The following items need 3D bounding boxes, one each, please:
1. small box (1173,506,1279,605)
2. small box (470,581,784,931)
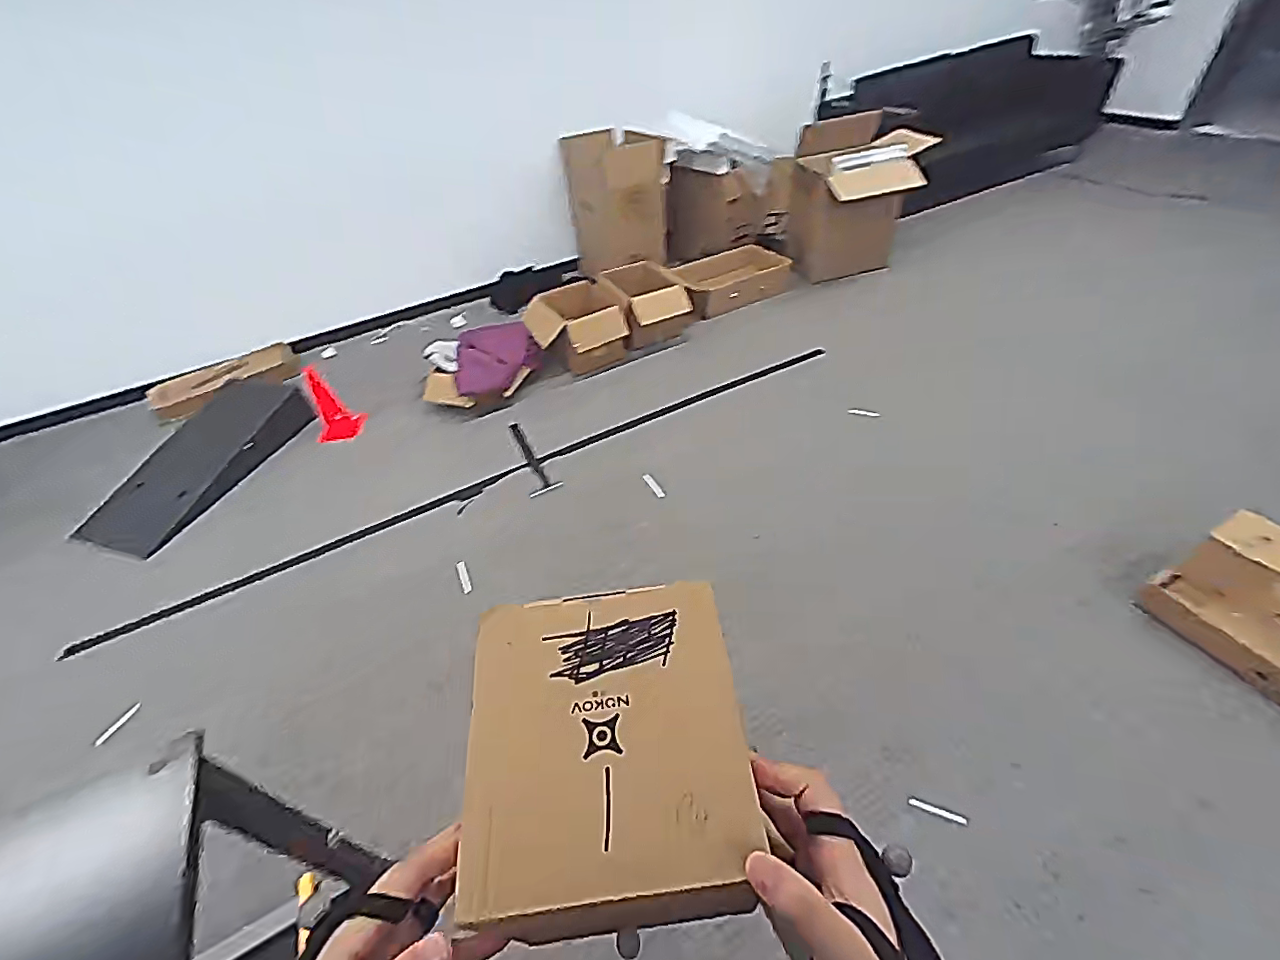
[{"bbox_3d":[1.629,0.206,1.473,0.179,0.176,0.168,-24,45,-17],"label":"small box"},{"bbox_3d":[-0.007,0.199,0.391,0.168,0.176,0.179,-8,47,0],"label":"small box"}]
